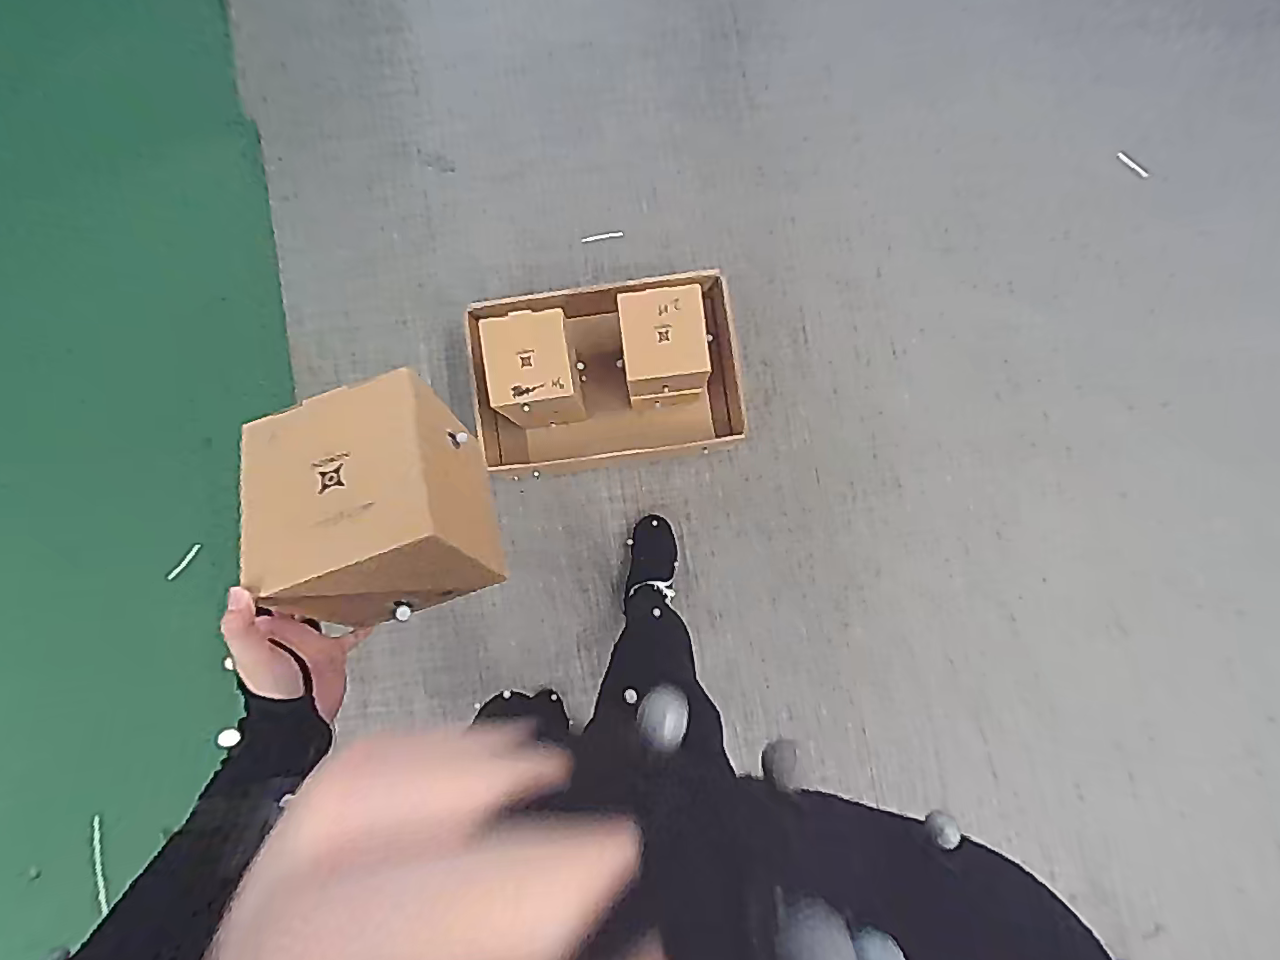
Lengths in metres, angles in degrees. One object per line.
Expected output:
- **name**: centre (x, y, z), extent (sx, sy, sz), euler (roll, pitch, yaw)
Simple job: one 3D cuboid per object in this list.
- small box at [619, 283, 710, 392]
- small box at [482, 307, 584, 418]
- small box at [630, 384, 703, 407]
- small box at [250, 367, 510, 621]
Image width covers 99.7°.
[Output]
- **small box**: centre (0.052, -0.286, 1.127), extent (0.168, 0.176, 0.179), euler (-6, 87, 2)
- **small box**: centre (-0.216, -0.238, 1.128), extent (0.168, 0.176, 0.179), euler (-9, 88, 1)
- **small box**: centre (0.056, -0.276, 1.292), extent (0.168, 0.176, 0.179), euler (-7, 87, 2)
- **small box**: centre (-0.248, 0.024, 0.542), extent (0.168, 0.176, 0.179), euler (-19, 66, 1)
